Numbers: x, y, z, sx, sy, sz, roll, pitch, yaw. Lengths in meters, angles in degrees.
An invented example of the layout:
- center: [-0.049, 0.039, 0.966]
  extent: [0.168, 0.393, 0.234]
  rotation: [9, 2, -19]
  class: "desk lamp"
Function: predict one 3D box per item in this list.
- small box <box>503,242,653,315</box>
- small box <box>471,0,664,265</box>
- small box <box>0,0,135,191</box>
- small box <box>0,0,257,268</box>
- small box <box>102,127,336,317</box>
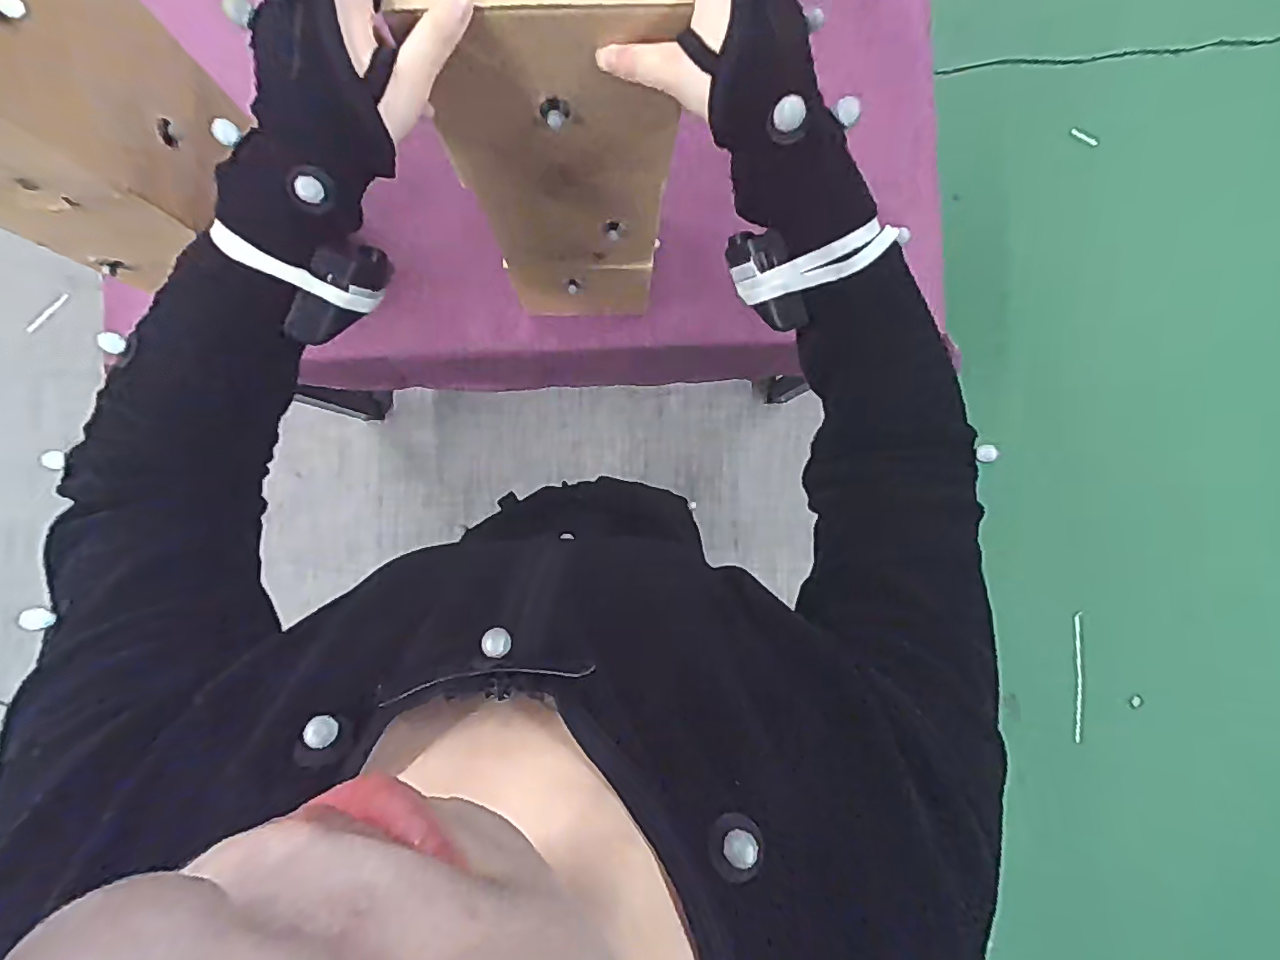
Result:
- center: [-0.075, -0.322, 0.708]
  extent: [0.179, 0.176, 0.168]
  rotation: [0, 89, -3]
  class: "small box"
- center: [-0.066, -0.332, 0.546]
  extent: [0.168, 0.176, 0.179]
  rotation: [-2, 88, -4]
  class: "small box"
- center: [-0.487, -0.316, 0.356]
  extent: [0.168, 0.176, 0.179]
  rotation: [-2, 89, -5]
  class: "small box"
- center: [-0.503, -0.319, 0.520]
  extent: [0.168, 0.176, 0.179]
  rotation: [-2, 87, -4]
  class: "small box"
- center: [-0.515, -0.313, 0.684]
  extent: [0.179, 0.176, 0.168]
  rotation: [-2, 89, -4]
  class: "small box"
